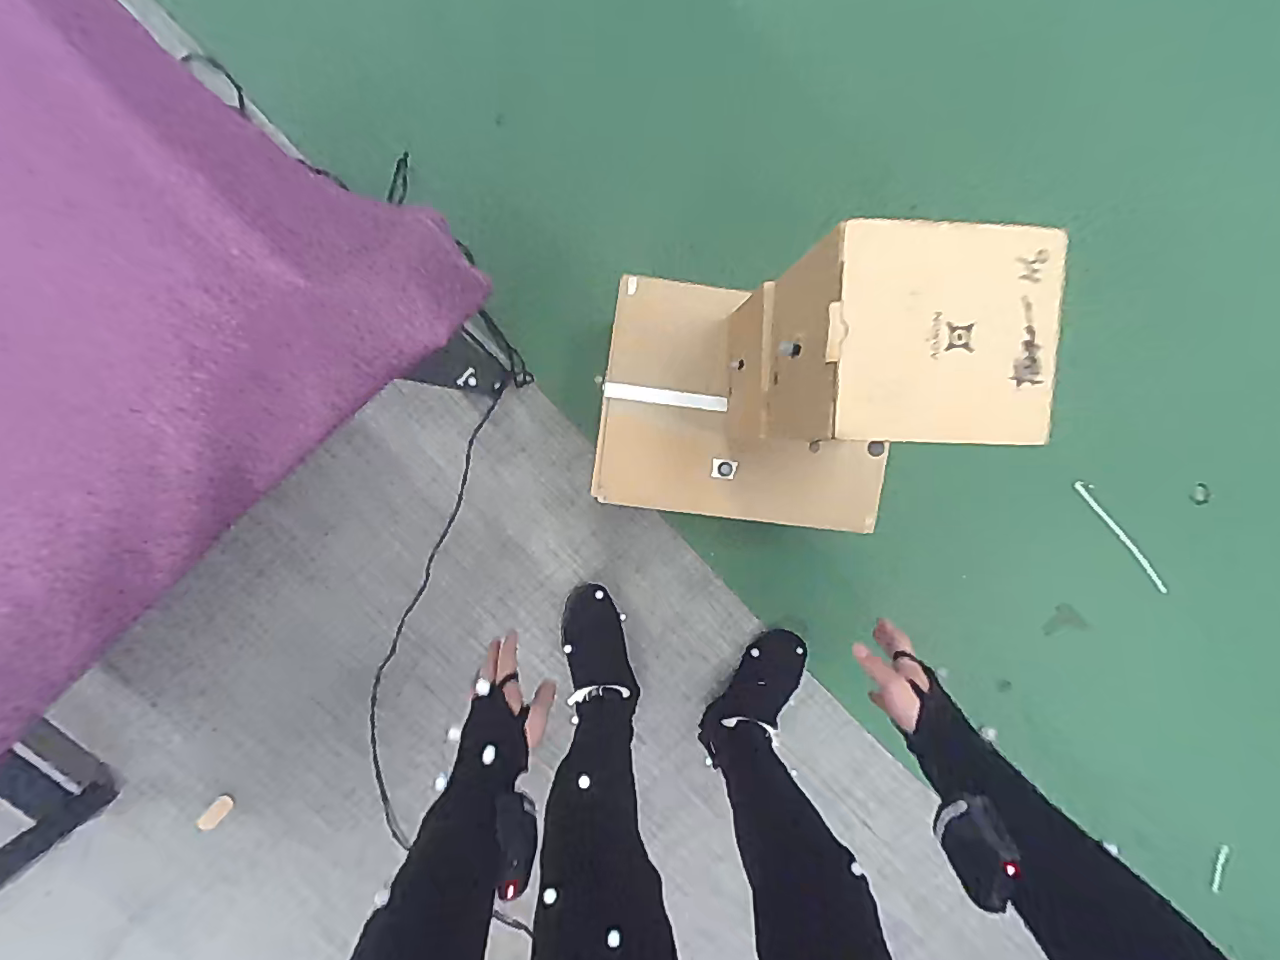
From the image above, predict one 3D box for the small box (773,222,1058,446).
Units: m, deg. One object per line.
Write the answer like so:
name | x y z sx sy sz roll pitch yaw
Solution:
small box | 0.229 -0.117 0.496 0.179 0.176 0.168 2 94 -2
